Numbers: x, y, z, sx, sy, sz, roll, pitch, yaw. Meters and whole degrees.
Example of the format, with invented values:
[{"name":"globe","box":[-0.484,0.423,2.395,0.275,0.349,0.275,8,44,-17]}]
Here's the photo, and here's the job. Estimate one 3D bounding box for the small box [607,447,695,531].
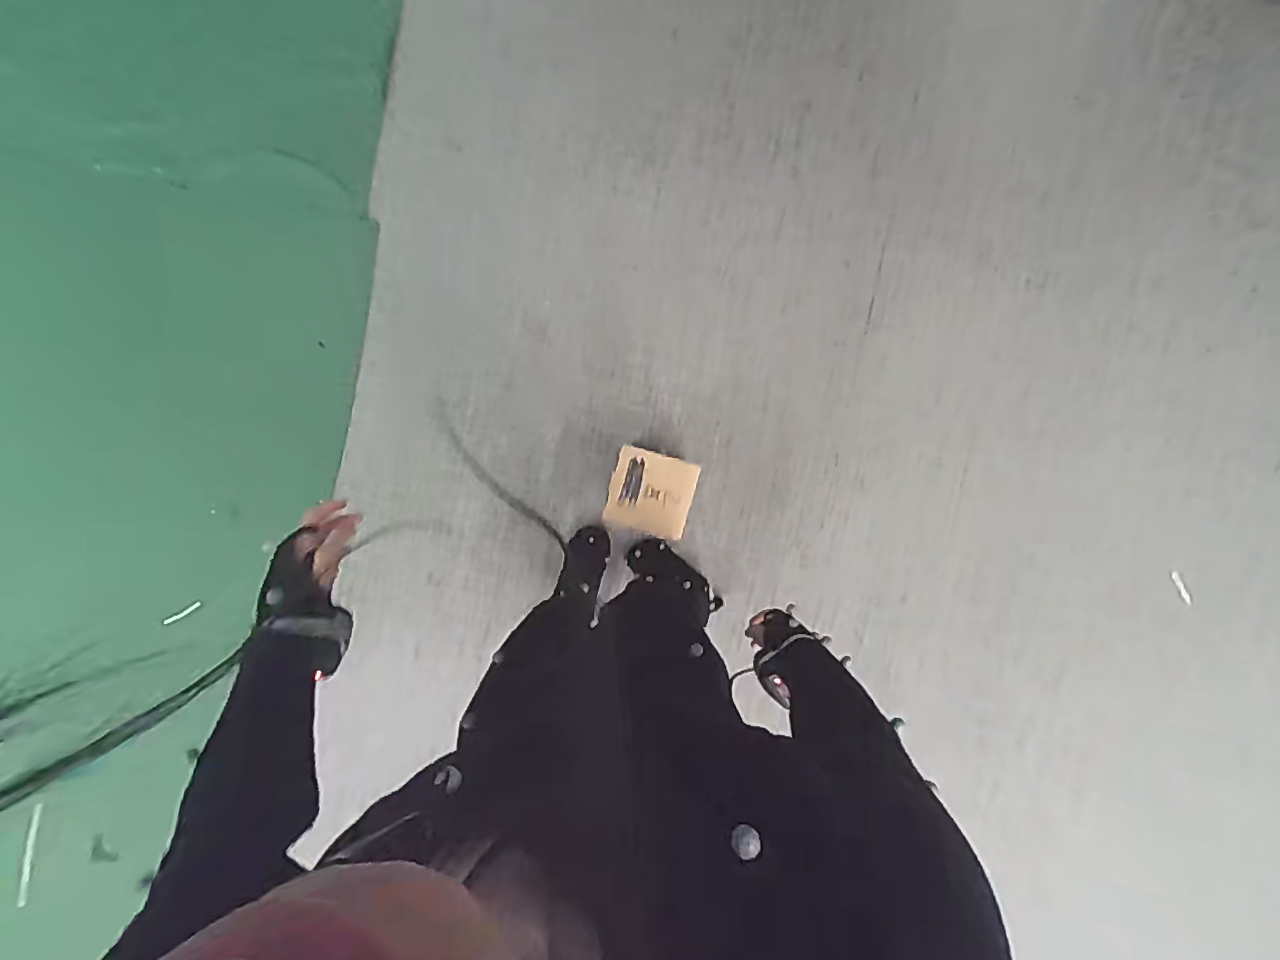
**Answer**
[{"name":"small box","box":[0.028,0.018,1.383,0.179,0.176,0.168,17,92,1]}]
